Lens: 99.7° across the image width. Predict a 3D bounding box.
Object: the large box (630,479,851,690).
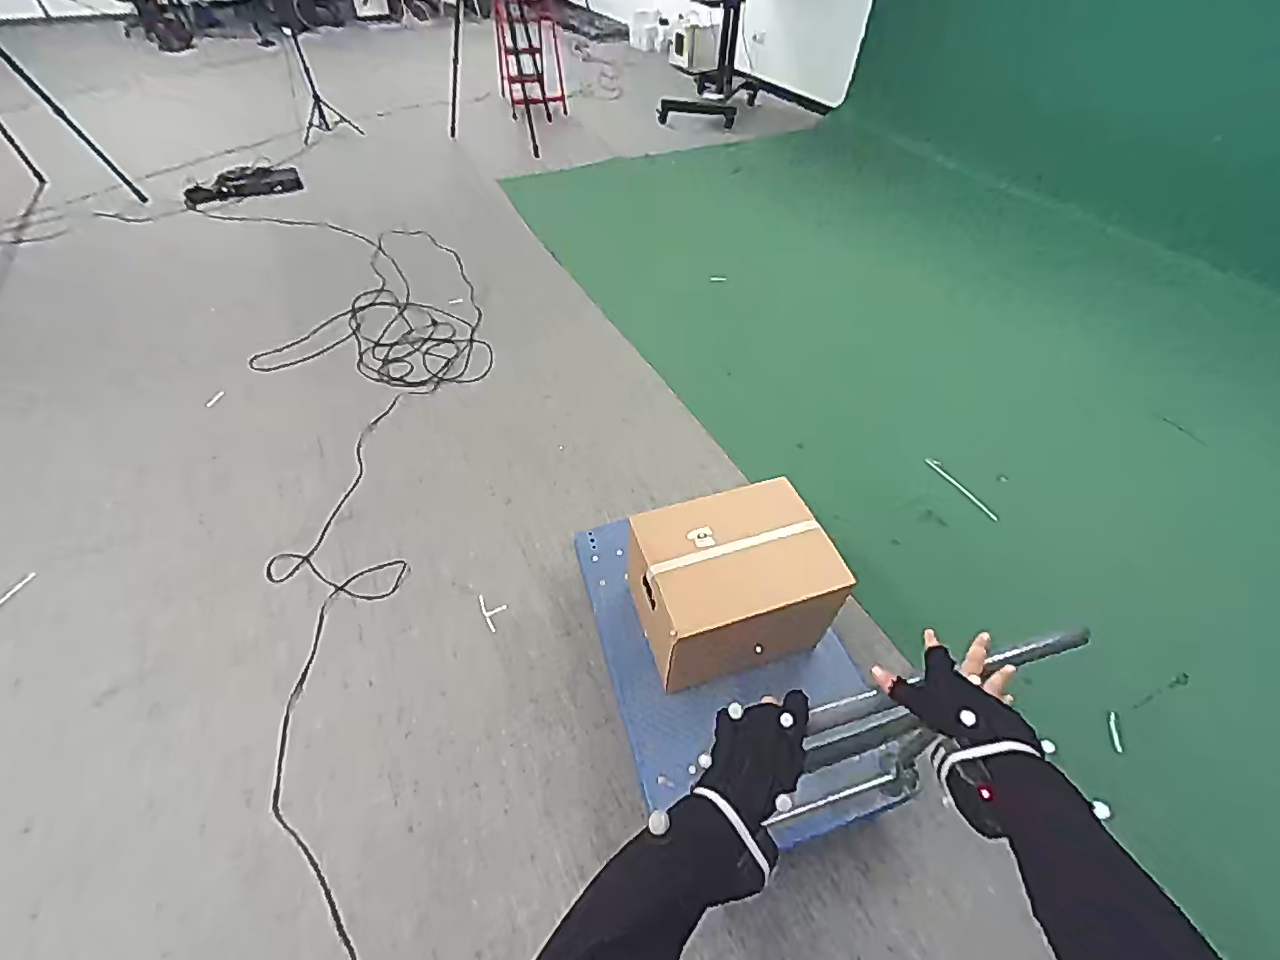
[{"bbox_3d":[0.212,0.250,1.298,0.408,0.320,0.320,-14,51,-12],"label":"large box"}]
